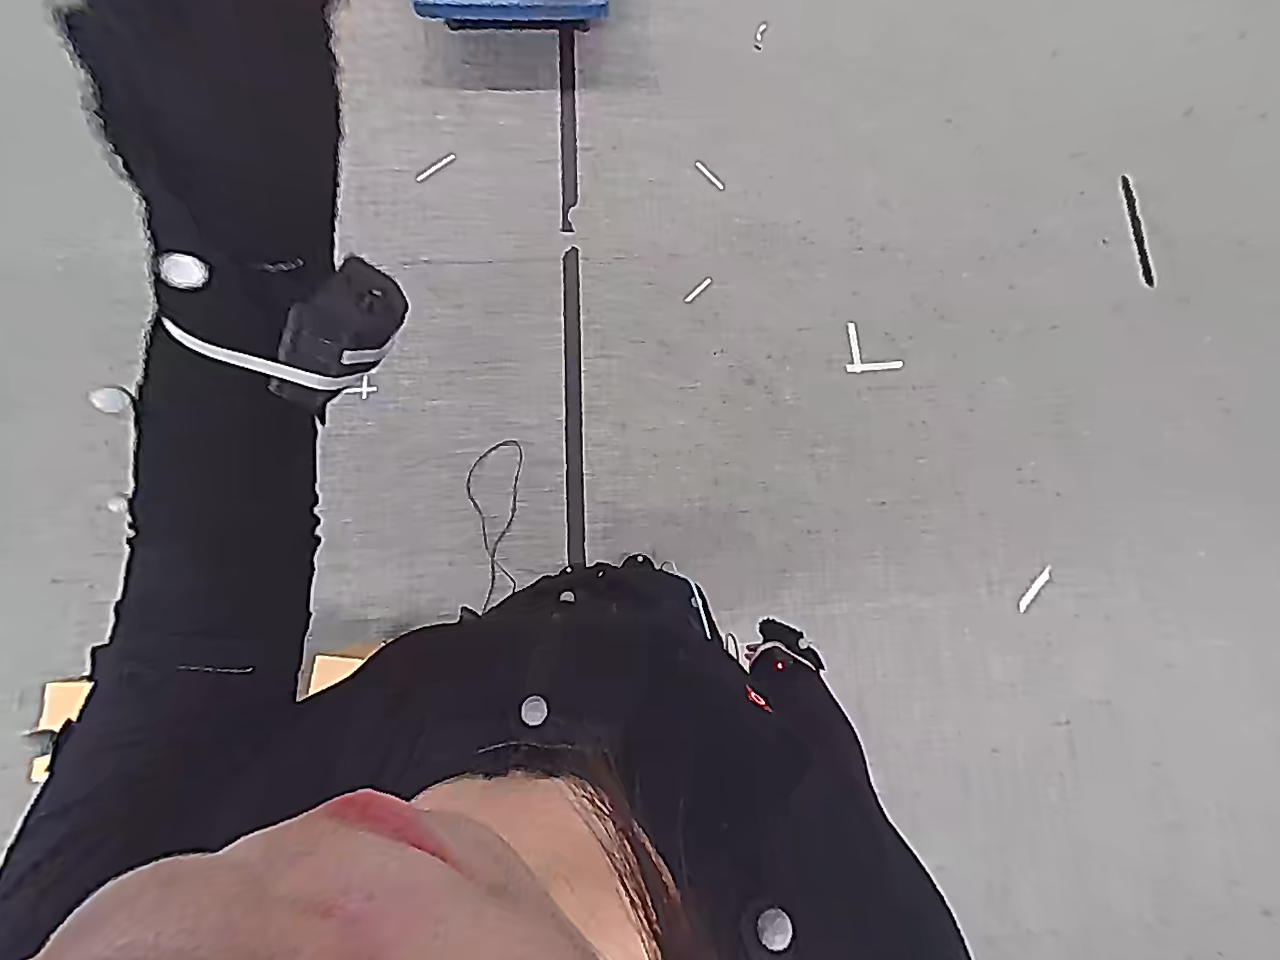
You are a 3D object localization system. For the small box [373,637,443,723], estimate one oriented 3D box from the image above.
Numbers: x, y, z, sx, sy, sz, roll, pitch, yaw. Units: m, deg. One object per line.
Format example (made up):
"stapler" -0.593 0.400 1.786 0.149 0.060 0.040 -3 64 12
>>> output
"small box" -0.614 0.500 1.374 0.168 0.176 0.179 4 82 -1

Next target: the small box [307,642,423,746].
"small box" -0.605 0.471 1.213 0.168 0.176 0.179 6 81 -1

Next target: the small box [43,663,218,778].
"small box" -0.957 0.450 1.035 0.179 0.176 0.168 0 82 -1
